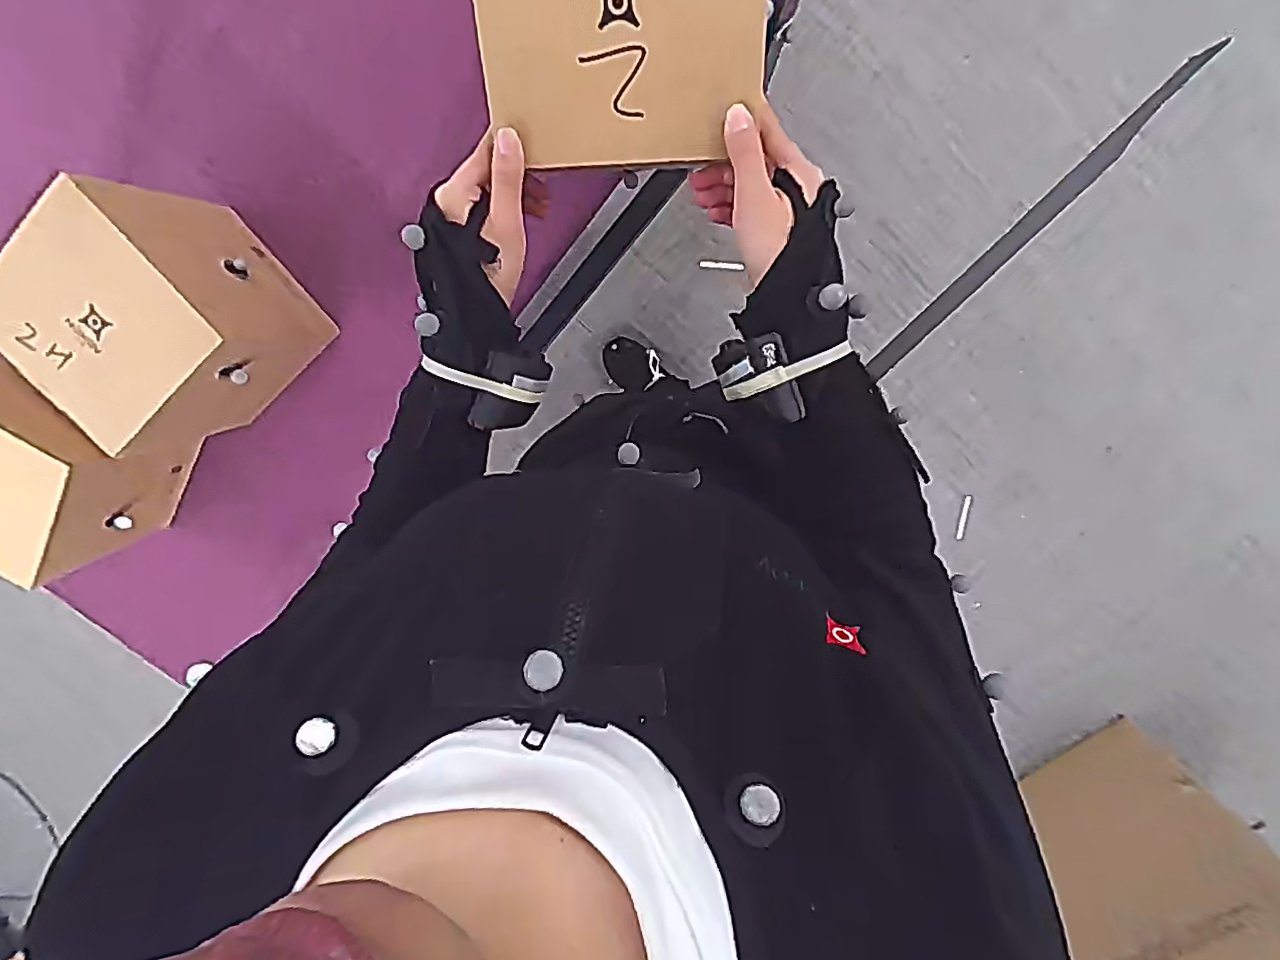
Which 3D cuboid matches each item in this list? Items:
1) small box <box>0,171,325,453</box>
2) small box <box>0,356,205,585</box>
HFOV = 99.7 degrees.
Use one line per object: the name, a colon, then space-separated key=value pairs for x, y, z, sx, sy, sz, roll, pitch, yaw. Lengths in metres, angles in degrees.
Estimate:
small box: x=-0.455 y=-0.158 z=0.533 sx=0.179 sy=0.176 sz=0.168 roll=-37 pitch=101 yaw=15
small box: x=-0.637 y=-0.025 z=0.591 sx=0.179 sy=0.176 sz=0.168 roll=33 pitch=107 yaw=-7
